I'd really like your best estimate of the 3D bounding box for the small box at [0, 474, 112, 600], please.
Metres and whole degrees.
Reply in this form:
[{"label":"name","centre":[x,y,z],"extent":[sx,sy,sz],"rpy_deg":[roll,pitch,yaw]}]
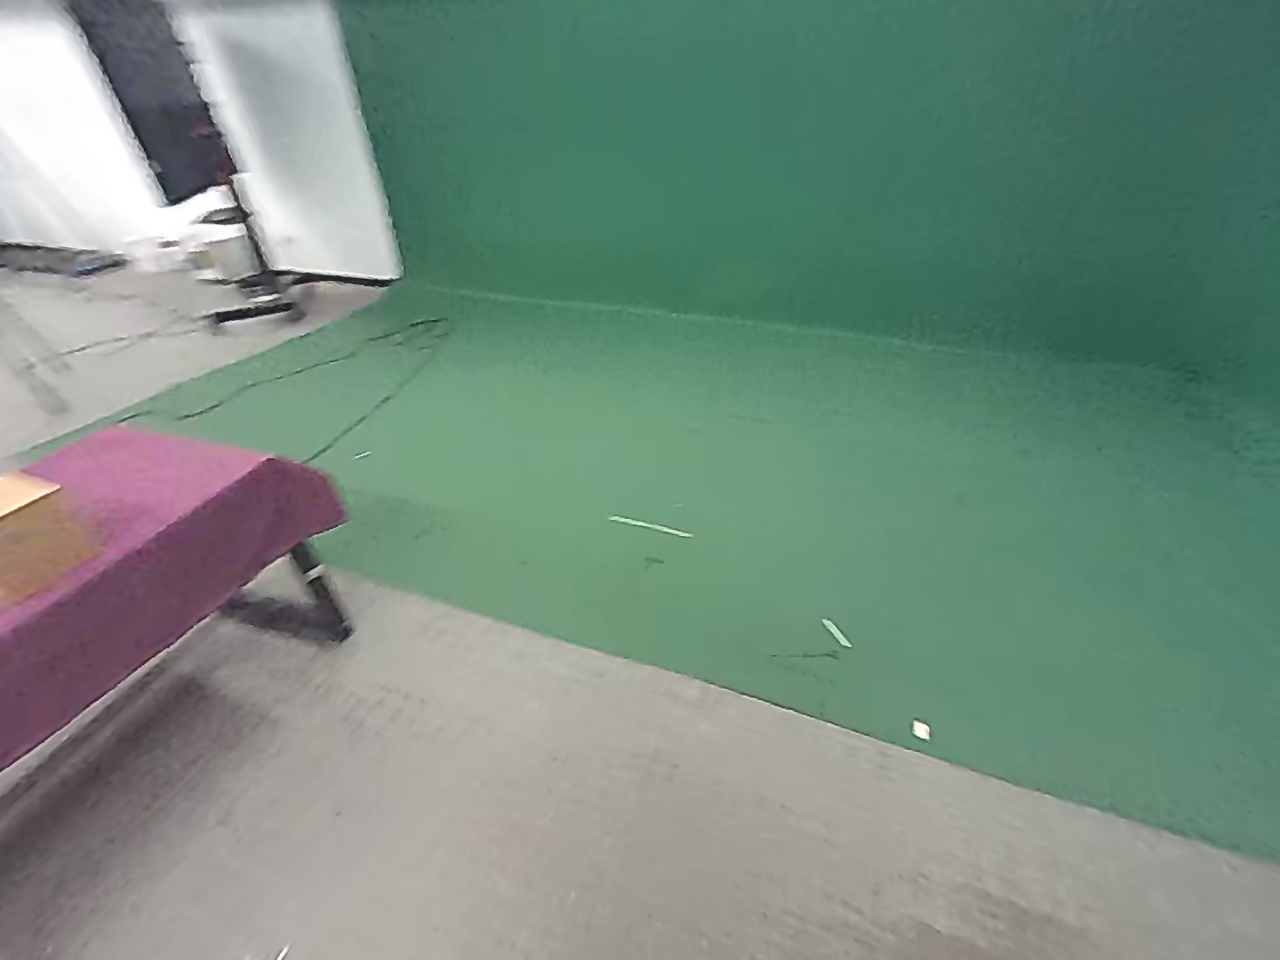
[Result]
[{"label":"small box","centre":[-1.254,0.115,1.097],"extent":[0.168,0.176,0.179],"rpy_deg":[11,37,16]}]
